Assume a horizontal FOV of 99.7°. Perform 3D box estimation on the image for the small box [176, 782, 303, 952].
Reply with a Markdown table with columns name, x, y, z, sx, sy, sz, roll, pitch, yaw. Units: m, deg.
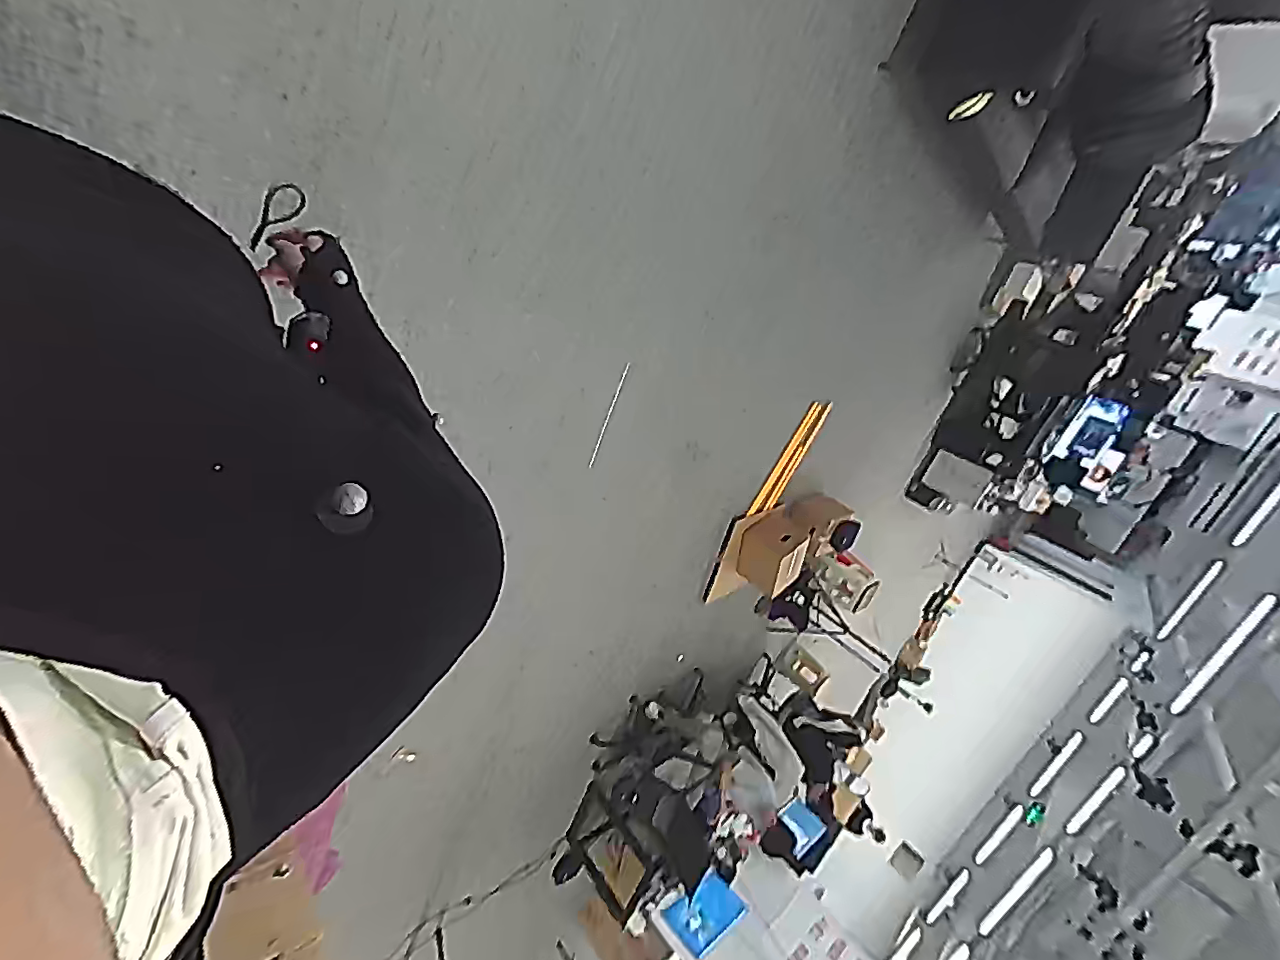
| name | x | y | z | sx | sy | sz | roll | pitch | yaw |
| --- | --- | --- | --- | --- | --- | --- | --- | --- | --- |
| small box | -0.779 | 0.734 | 1.046 | 0.168 | 0.176 | 0.179 | 0 | 117 | -47 |

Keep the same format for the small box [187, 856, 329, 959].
| name | x | y | z | sx | sy | sz | roll | pitch | yaw |
| --- | --- | --- | --- | --- | --- | --- | --- | --- | --- |
| small box | -0.671 | 0.804 | 0.944 | 0.168 | 0.176 | 0.179 | 0 | 119 | -47 |
